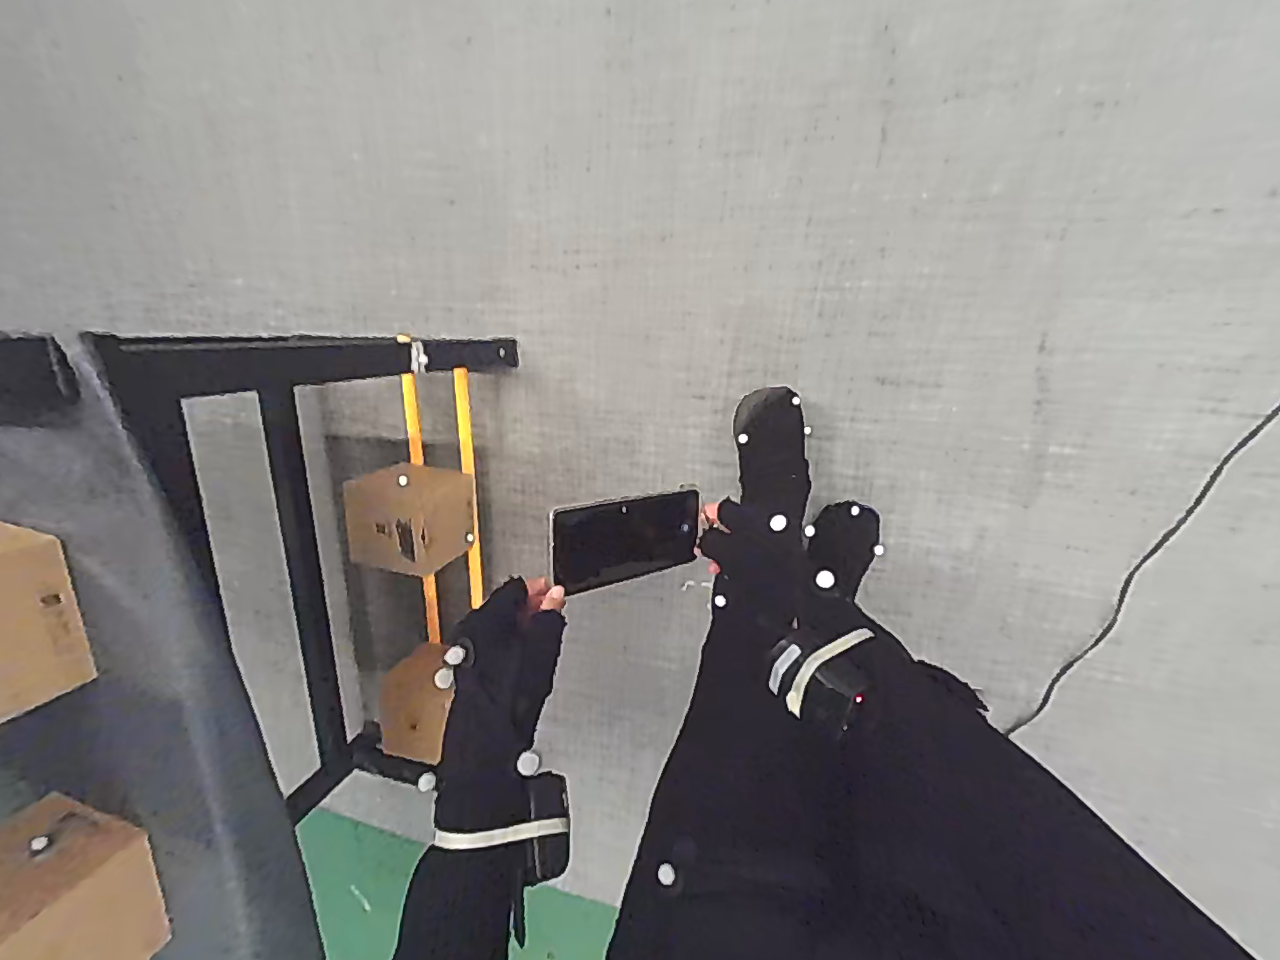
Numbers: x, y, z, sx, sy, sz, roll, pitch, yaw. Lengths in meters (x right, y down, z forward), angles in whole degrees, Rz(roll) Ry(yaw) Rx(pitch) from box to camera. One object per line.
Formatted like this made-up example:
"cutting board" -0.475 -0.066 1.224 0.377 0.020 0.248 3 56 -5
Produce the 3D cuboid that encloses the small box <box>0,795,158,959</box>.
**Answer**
"small box" -0.686 0.502 0.600 0.168 0.176 0.179 9 106 15

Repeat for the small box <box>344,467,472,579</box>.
"small box" -0.457 0.078 1.091 0.179 0.176 0.168 9 106 14
